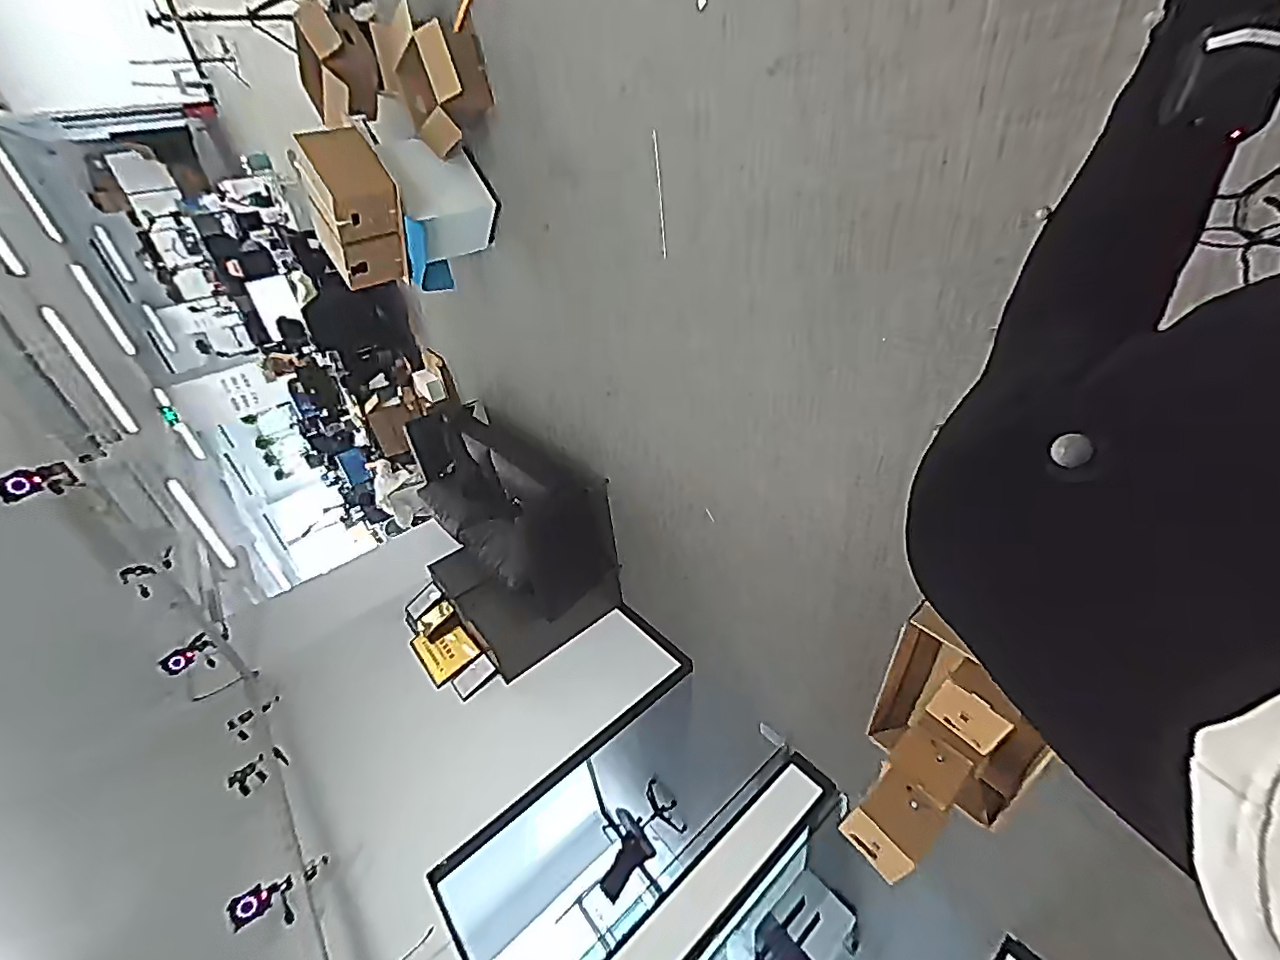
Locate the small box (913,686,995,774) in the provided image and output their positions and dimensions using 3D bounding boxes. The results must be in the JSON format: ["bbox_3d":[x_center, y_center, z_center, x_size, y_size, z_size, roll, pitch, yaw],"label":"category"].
[{"bbox_3d":[0.905,0.751,1.587,0.168,0.176,0.179,32,138,40],"label":"small box"}]

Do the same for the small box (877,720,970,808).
[{"bbox_3d":[0.782,0.816,1.504,0.168,0.176,0.179,32,138,41],"label":"small box"}]

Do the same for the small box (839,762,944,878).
[{"bbox_3d":[0.661,0.889,1.421,0.168,0.176,0.179,39,142,33],"label":"small box"}]
